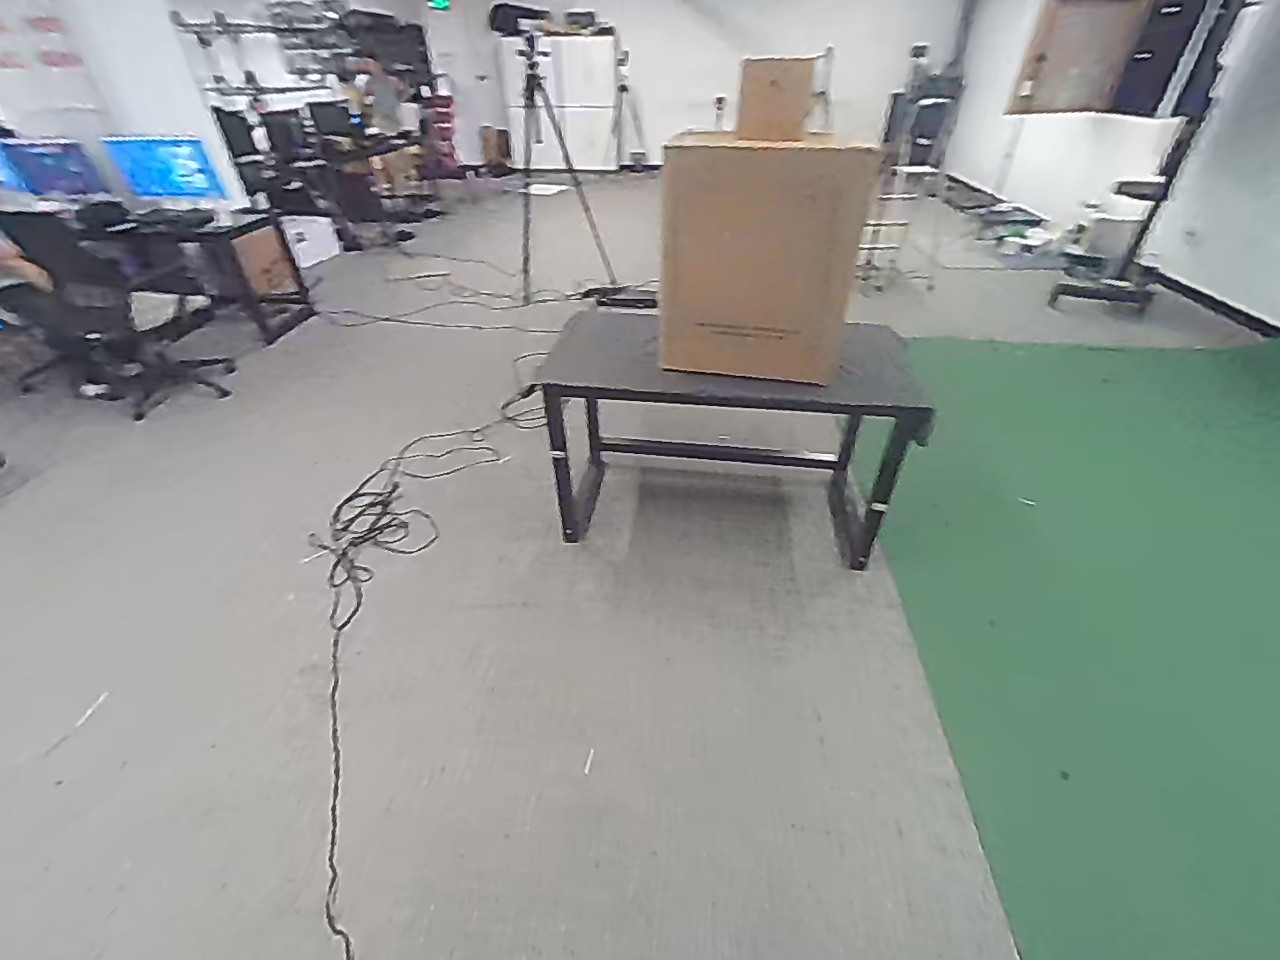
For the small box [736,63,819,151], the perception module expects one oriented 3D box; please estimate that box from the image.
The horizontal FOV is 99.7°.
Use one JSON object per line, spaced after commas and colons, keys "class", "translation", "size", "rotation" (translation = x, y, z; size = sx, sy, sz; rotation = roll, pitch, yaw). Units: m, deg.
{"class": "small box", "translation": [0.347, -0.944, 1.371], "size": [0.179, 0.176, 0.168], "rotation": [9, 41, 12]}
